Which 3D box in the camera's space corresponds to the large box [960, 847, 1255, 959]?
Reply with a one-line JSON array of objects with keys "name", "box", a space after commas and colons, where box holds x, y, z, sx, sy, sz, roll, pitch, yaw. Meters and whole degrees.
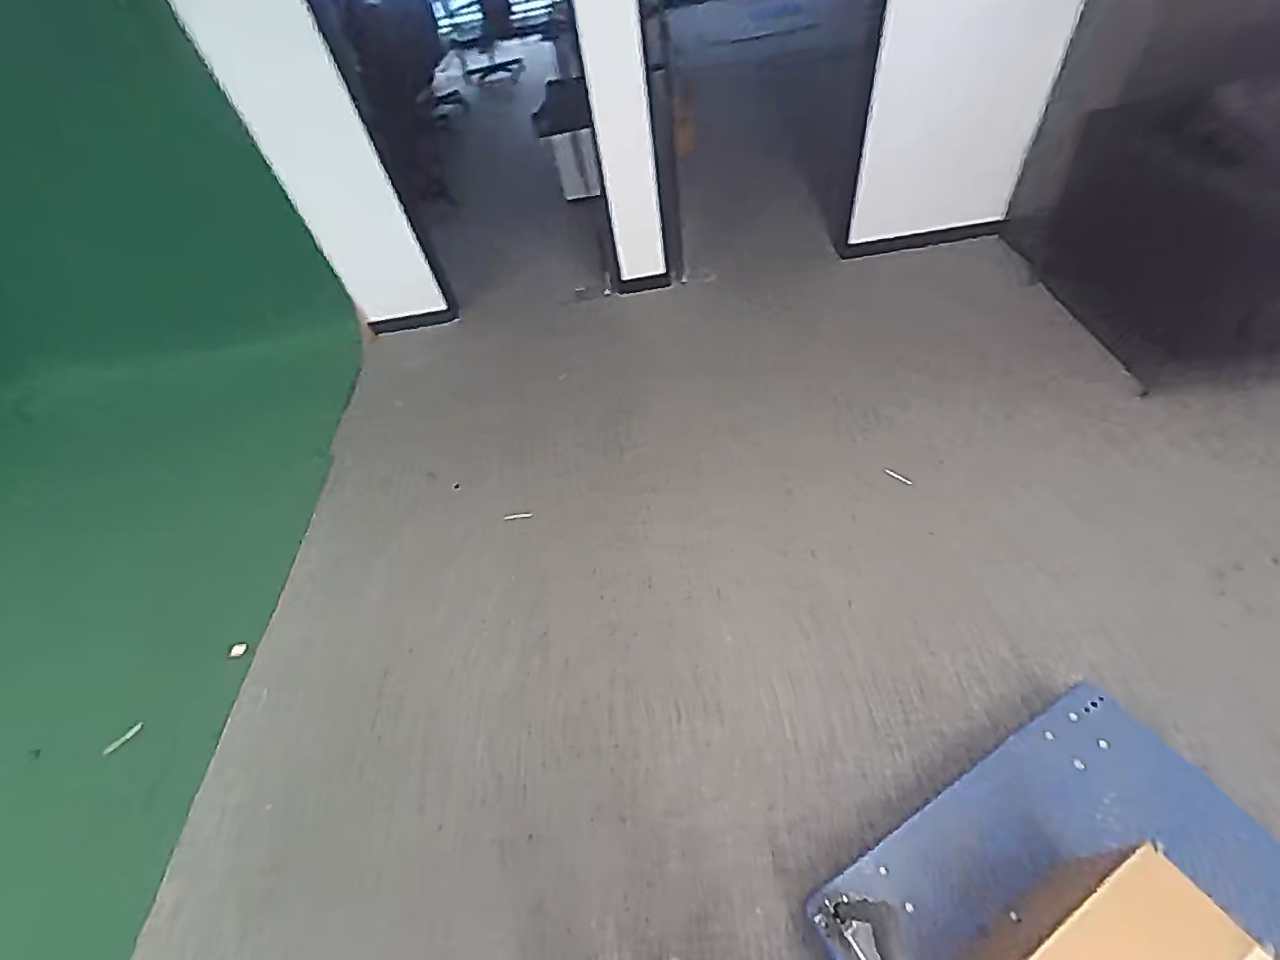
[{"name": "large box", "box": [0.724, 0.869, 0.838, 0.408, 0.320, 0.320, -27, 52, -15]}]
